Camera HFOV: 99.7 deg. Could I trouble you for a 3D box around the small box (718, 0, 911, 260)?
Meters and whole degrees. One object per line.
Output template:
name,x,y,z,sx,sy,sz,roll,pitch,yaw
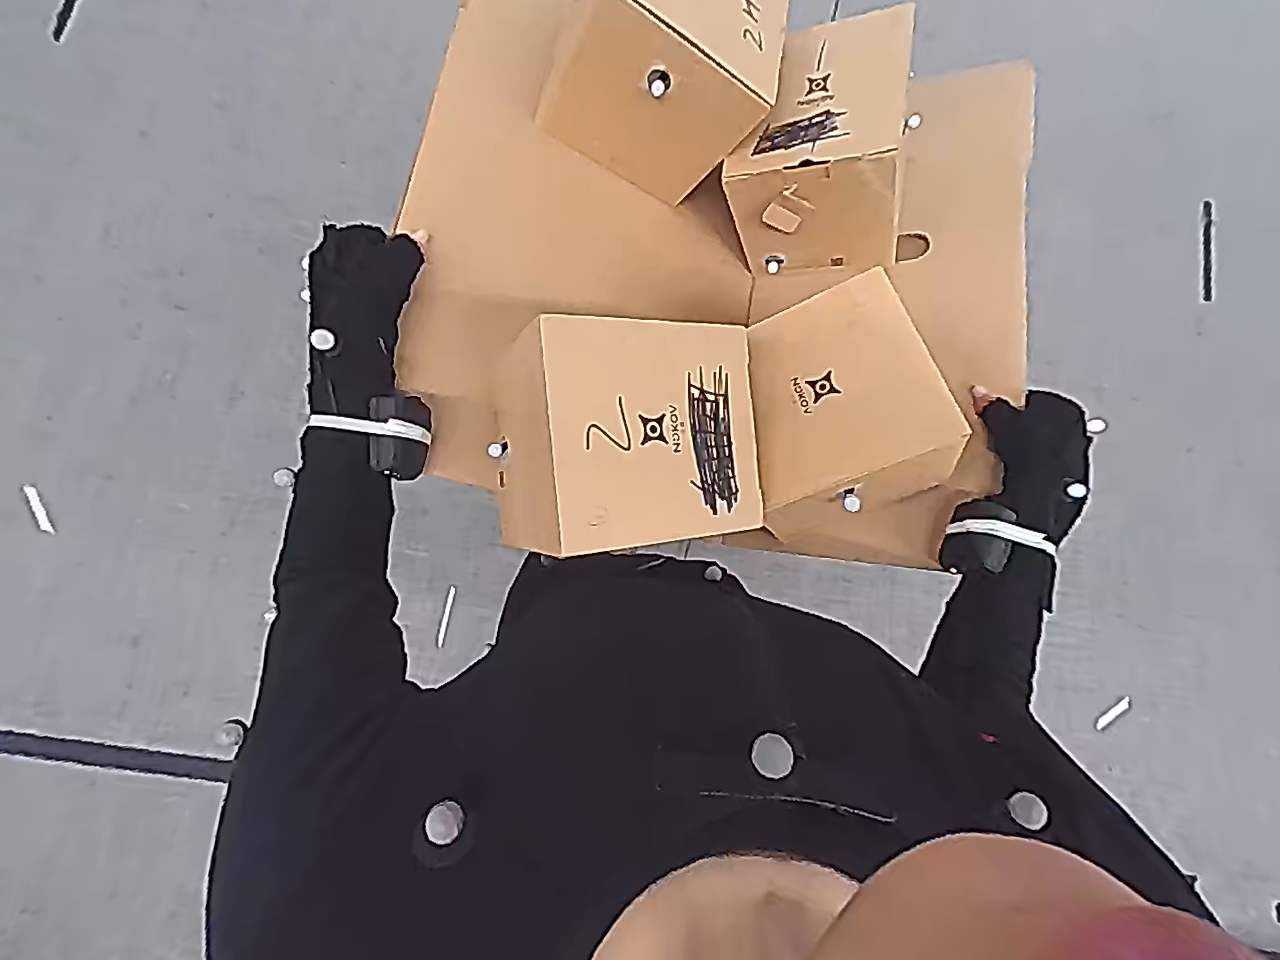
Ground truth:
small box,0.200,-0.367,0.604,0.168,0.176,0.179,6,76,24
